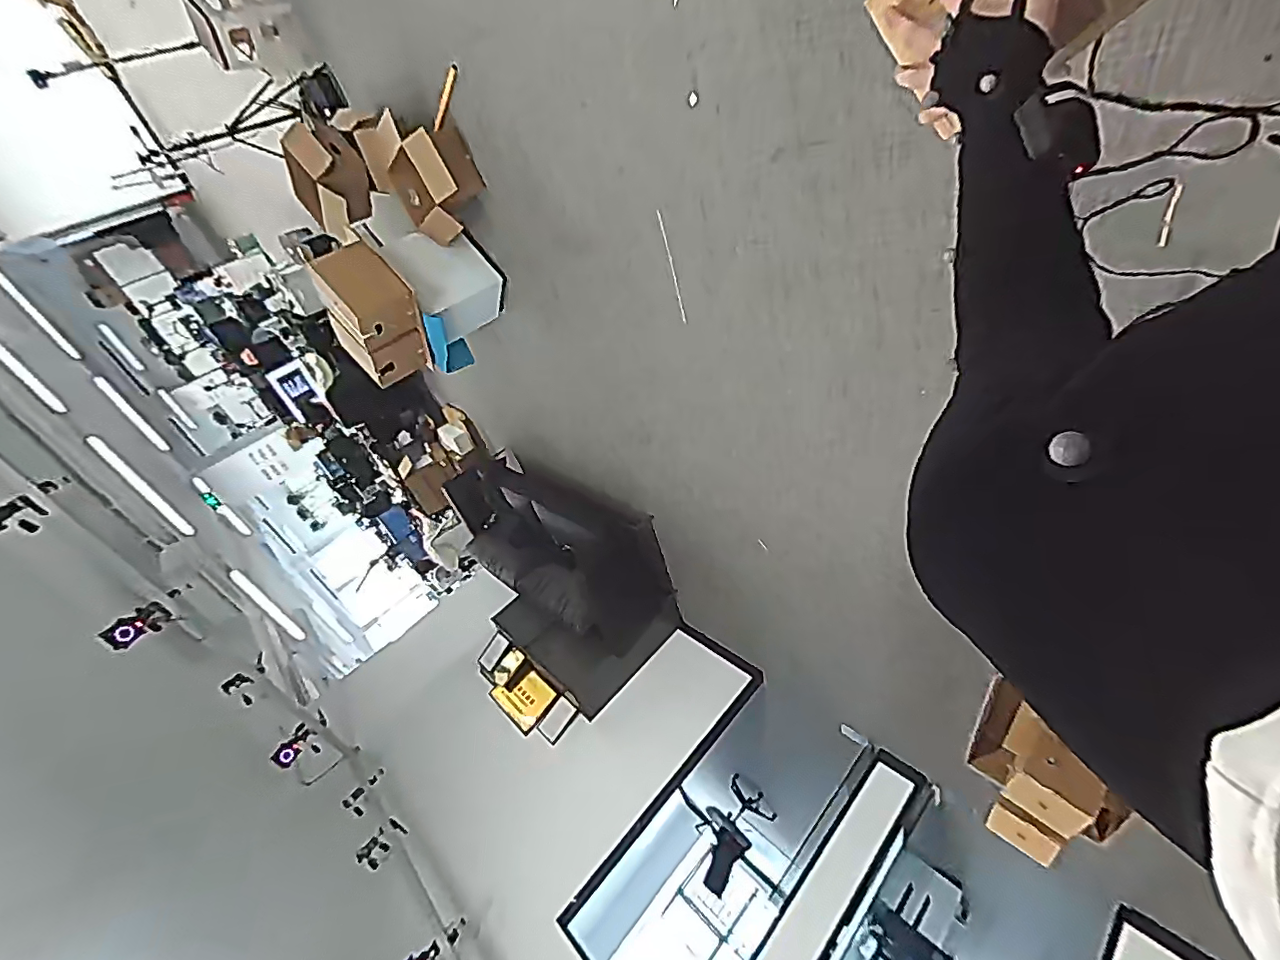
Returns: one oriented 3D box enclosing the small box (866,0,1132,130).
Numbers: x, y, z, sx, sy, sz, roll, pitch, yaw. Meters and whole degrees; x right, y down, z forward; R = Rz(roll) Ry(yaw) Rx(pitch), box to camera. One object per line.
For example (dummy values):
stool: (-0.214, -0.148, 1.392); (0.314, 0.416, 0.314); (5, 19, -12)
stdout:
small box: (0.380, -0.516, 0.560); (0.179, 0.176, 0.168); (55, 155, -7)

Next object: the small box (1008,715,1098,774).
small box: (1.275, 0.871, 1.670); (0.168, 0.176, 0.179); (24, 142, 40)

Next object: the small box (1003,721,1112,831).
small box: (1.109, 0.779, 1.436); (0.168, 0.176, 0.179); (30, 148, 36)

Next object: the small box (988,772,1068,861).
small box: (1.164, 0.961, 1.594); (0.168, 0.176, 0.179); (25, 142, 41)
